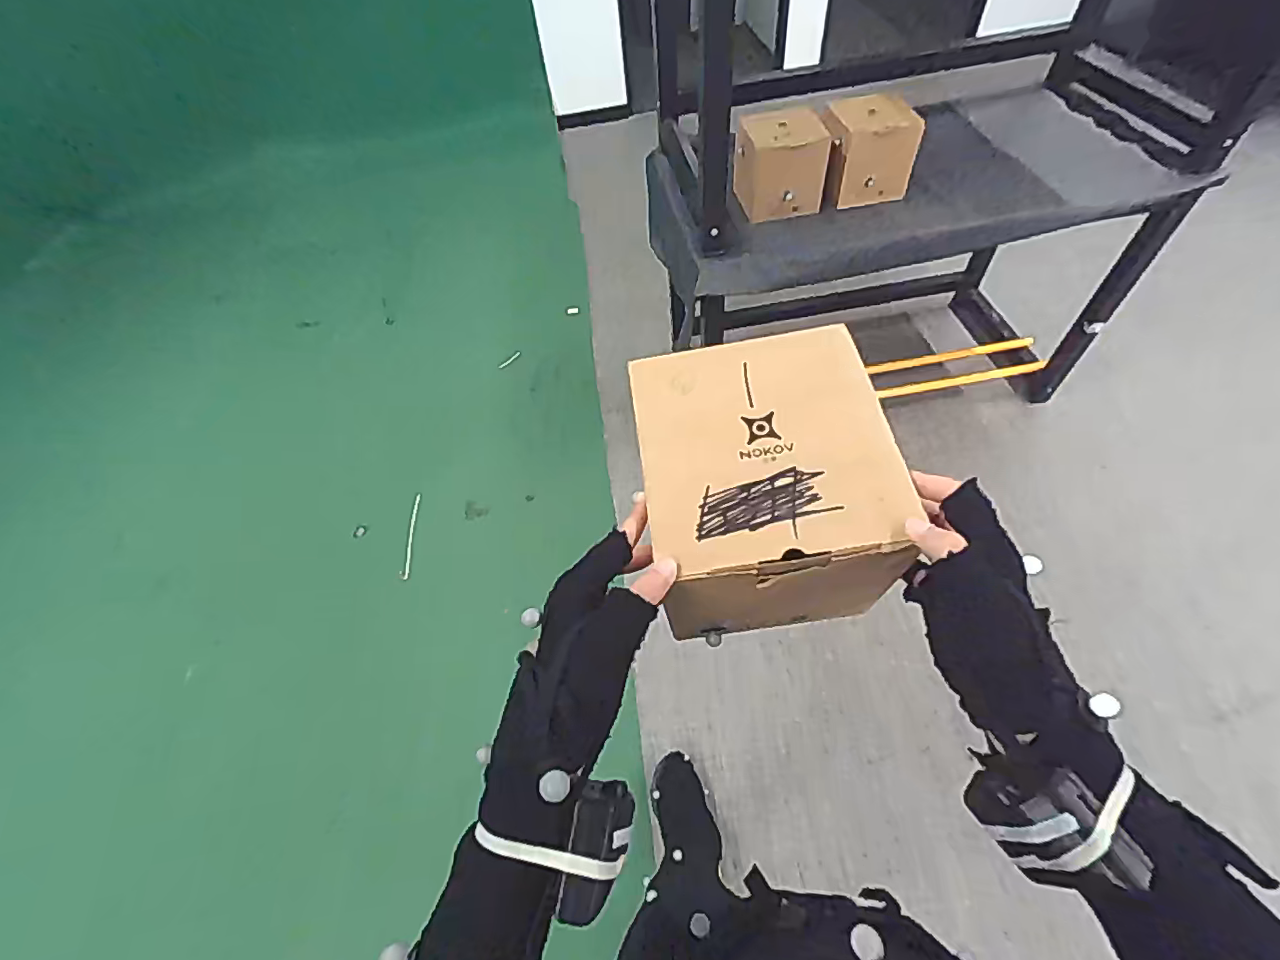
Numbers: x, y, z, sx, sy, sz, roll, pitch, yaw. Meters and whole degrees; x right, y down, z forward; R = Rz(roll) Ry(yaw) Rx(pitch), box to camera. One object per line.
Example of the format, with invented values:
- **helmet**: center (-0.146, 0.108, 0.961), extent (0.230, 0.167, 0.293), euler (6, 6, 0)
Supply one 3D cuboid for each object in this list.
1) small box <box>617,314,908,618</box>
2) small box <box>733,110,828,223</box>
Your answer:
- **small box**: center (0.082, 0.003, 0.433), extent (0.168, 0.176, 0.179), euler (-9, 60, 3)
- **small box**: center (0.318, -0.734, 1.269), extent (0.168, 0.176, 0.179), euler (-10, 53, 0)
